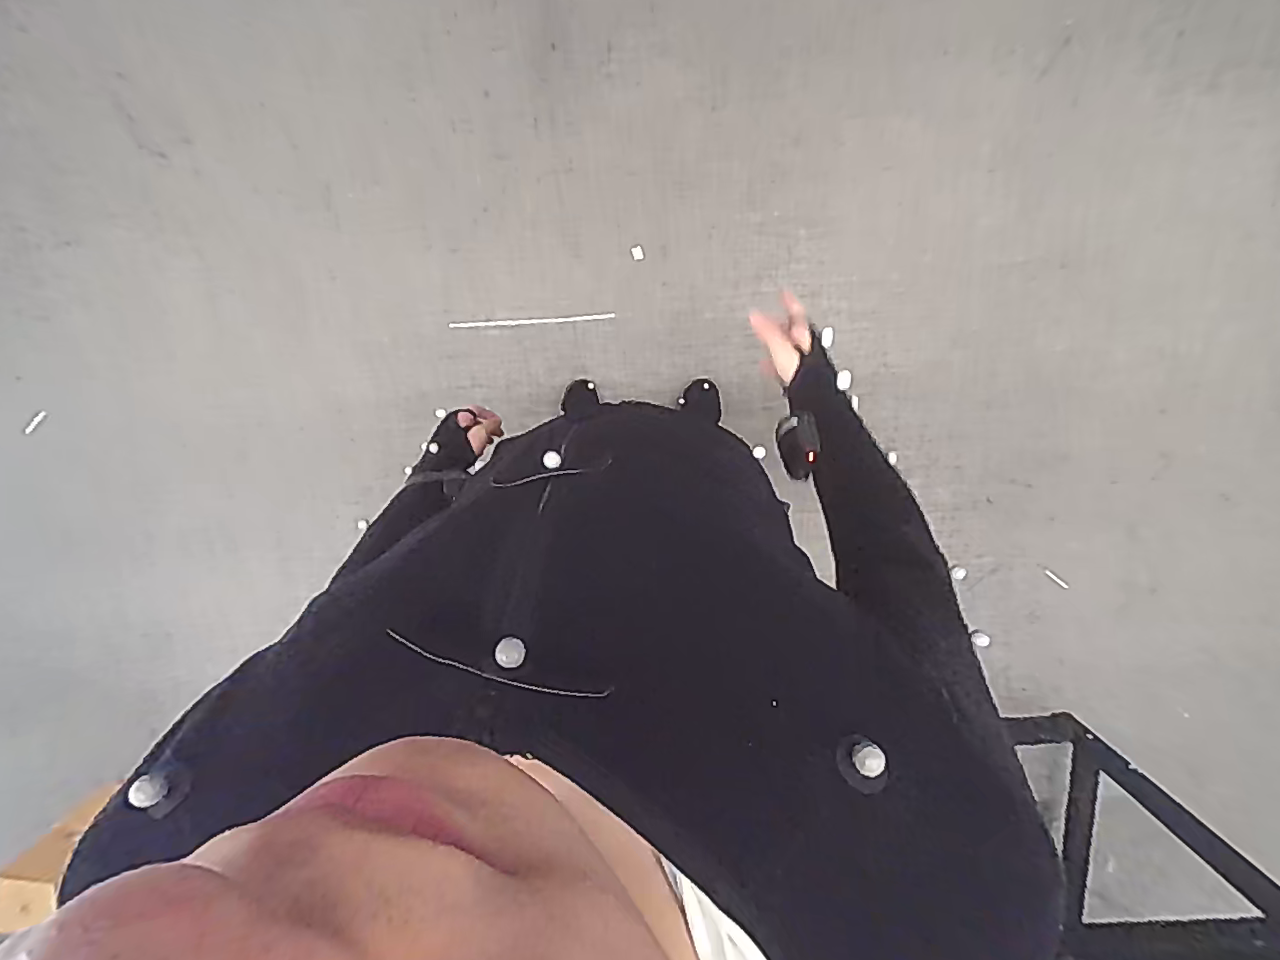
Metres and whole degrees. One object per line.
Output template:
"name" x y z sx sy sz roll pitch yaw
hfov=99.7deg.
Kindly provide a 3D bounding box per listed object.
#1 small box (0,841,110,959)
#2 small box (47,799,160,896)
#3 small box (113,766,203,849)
"small box" -1.577 1.118 1.447 0.168 0.176 0.179 7 100 -1
"small box" -1.584 1.084 1.606 0.168 0.176 0.179 3 101 1
"small box" -1.573 1.065 1.768 0.179 0.176 0.168 5 100 -1
